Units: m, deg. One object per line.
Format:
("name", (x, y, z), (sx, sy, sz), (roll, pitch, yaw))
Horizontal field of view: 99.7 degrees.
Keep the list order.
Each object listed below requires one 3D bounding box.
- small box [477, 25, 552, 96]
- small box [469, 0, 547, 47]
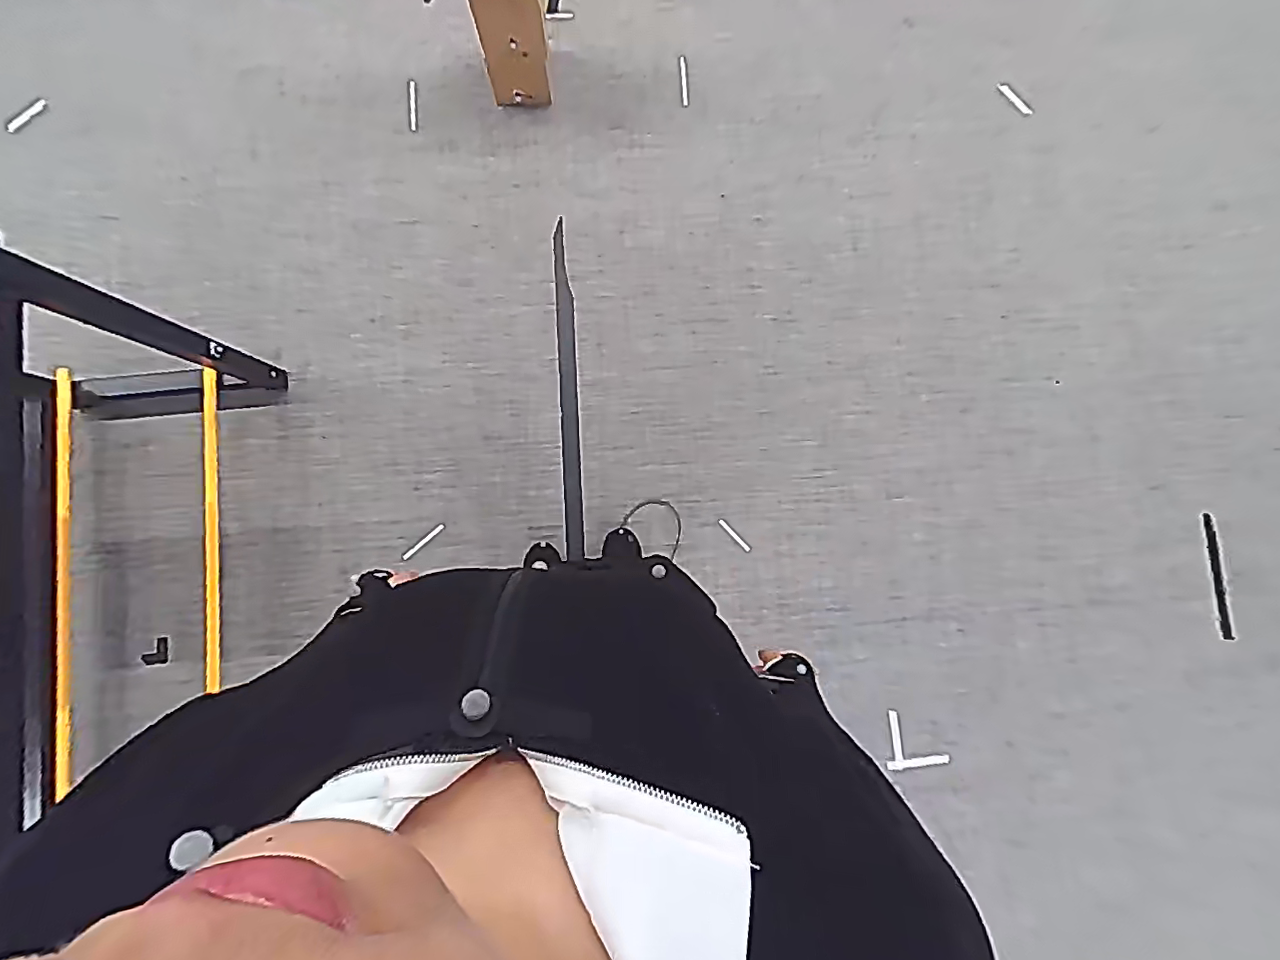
("small box", (-0.329, -1.162, 1.429), (0.168, 0.176, 0.179), (-4, 87, -2))
("small box", (-0.314, -1.166, 1.264), (0.168, 0.176, 0.179), (-4, 86, -1))
